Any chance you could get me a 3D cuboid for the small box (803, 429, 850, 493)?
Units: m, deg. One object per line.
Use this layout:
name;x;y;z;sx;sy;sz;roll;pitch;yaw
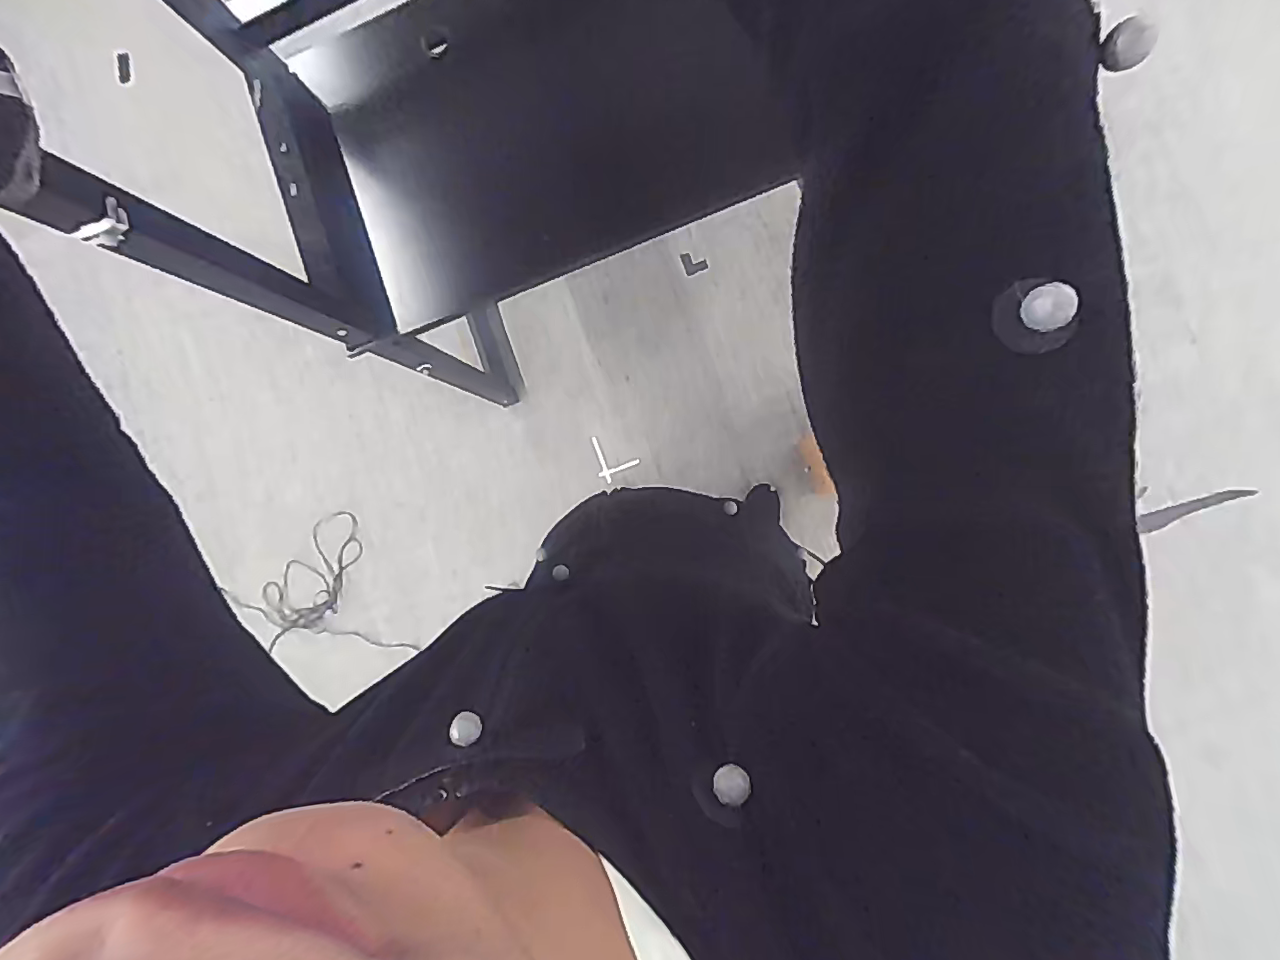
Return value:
small box;0.569;-0.070;1.489;0.179;0.176;0.168;-21;85;8
